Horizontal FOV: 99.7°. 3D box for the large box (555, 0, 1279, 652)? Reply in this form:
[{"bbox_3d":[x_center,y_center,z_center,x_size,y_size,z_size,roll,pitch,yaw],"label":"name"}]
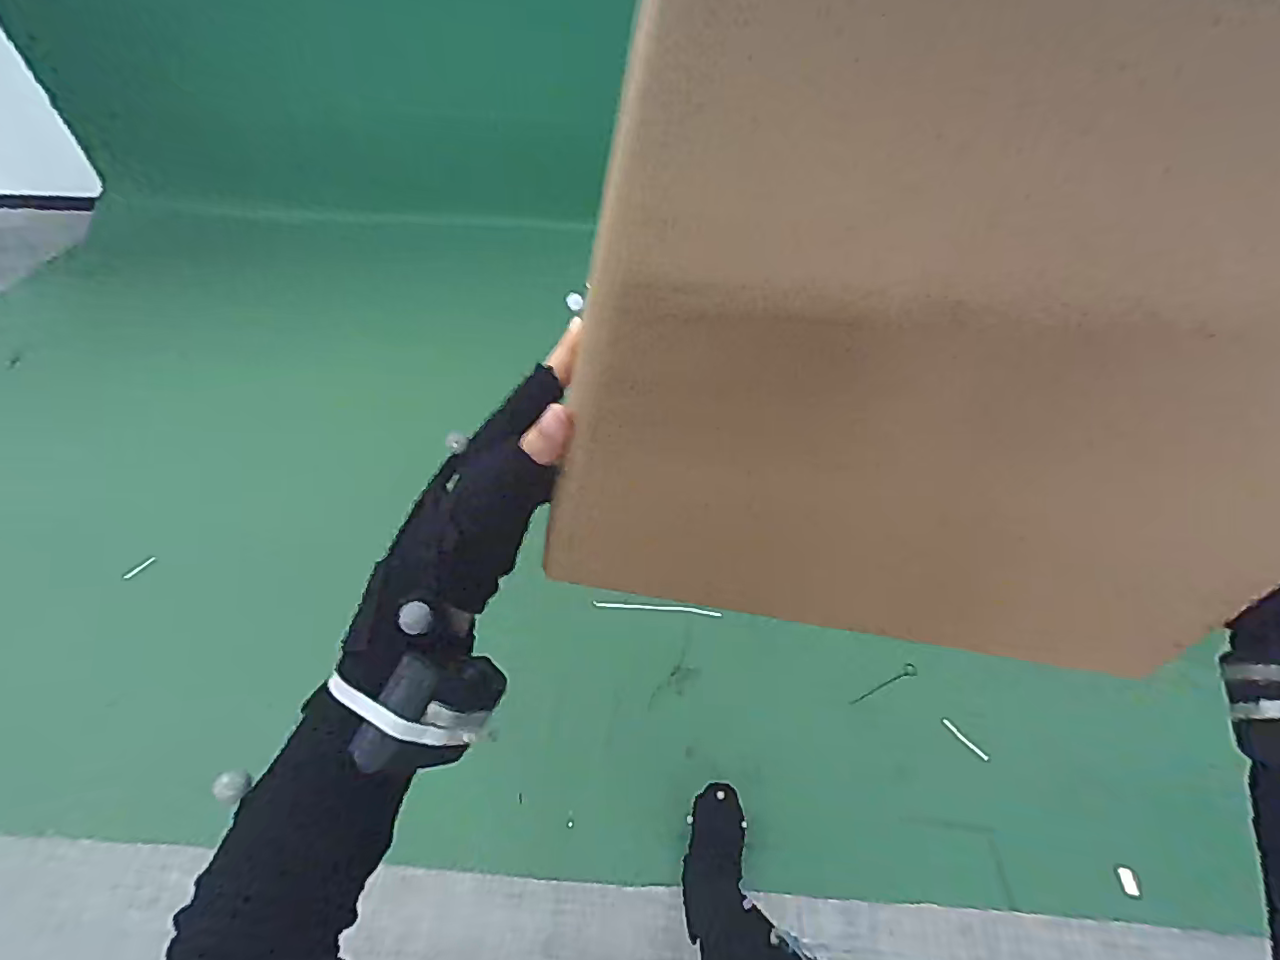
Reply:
[{"bbox_3d":[0.175,-0.120,0.369,0.408,0.320,0.320,12,39,-8],"label":"large box"}]
